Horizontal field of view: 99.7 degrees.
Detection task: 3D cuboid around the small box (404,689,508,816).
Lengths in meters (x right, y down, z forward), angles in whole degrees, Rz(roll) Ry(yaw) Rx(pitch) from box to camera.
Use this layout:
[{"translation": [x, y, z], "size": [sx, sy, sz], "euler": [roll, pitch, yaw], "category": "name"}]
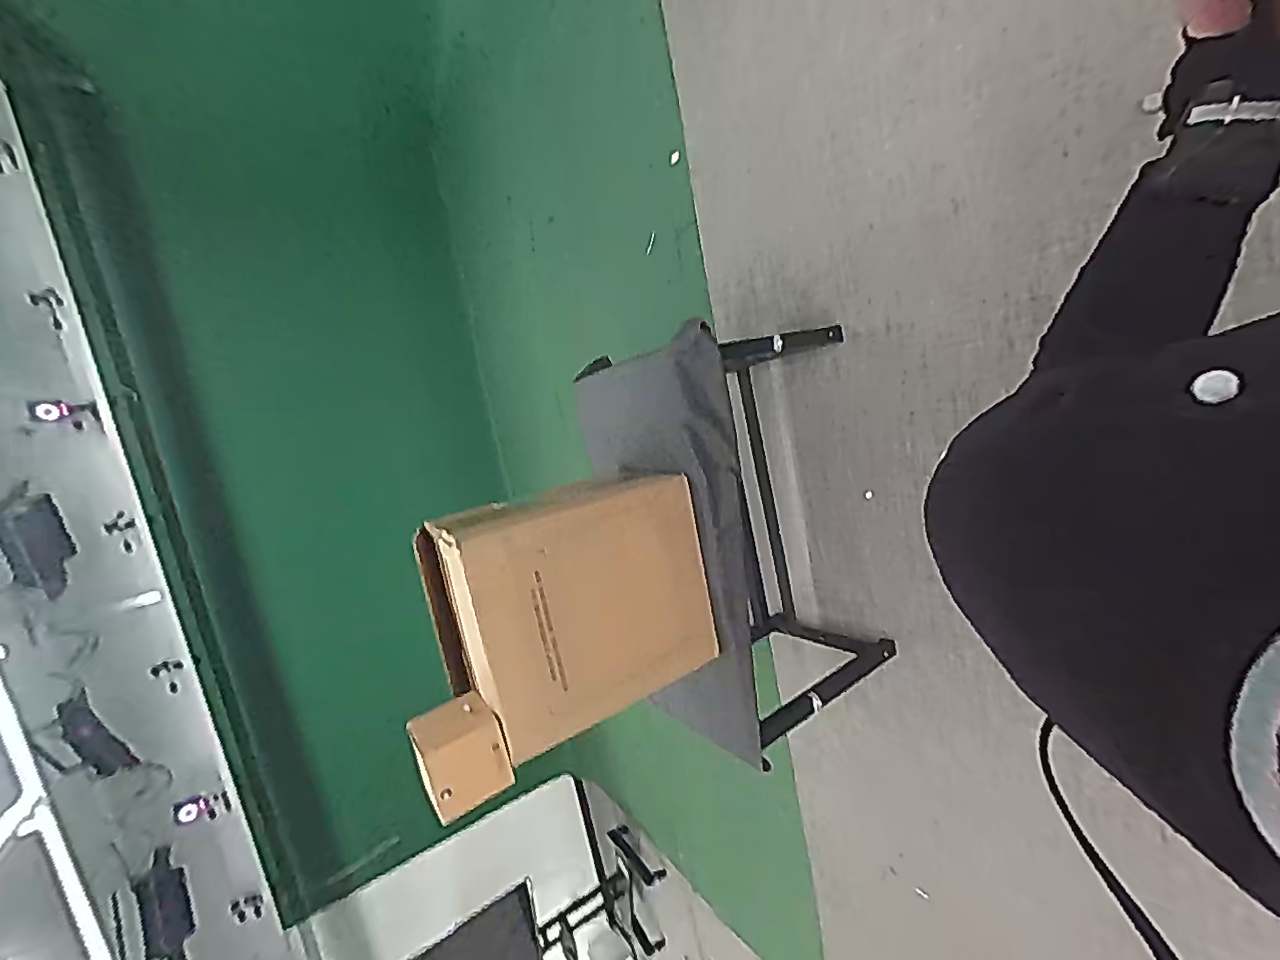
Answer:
[{"translation": [-0.420, 0.609, 1.240], "size": [0.179, 0.176, 0.168], "euler": [6, 111, 57], "category": "small box"}]
